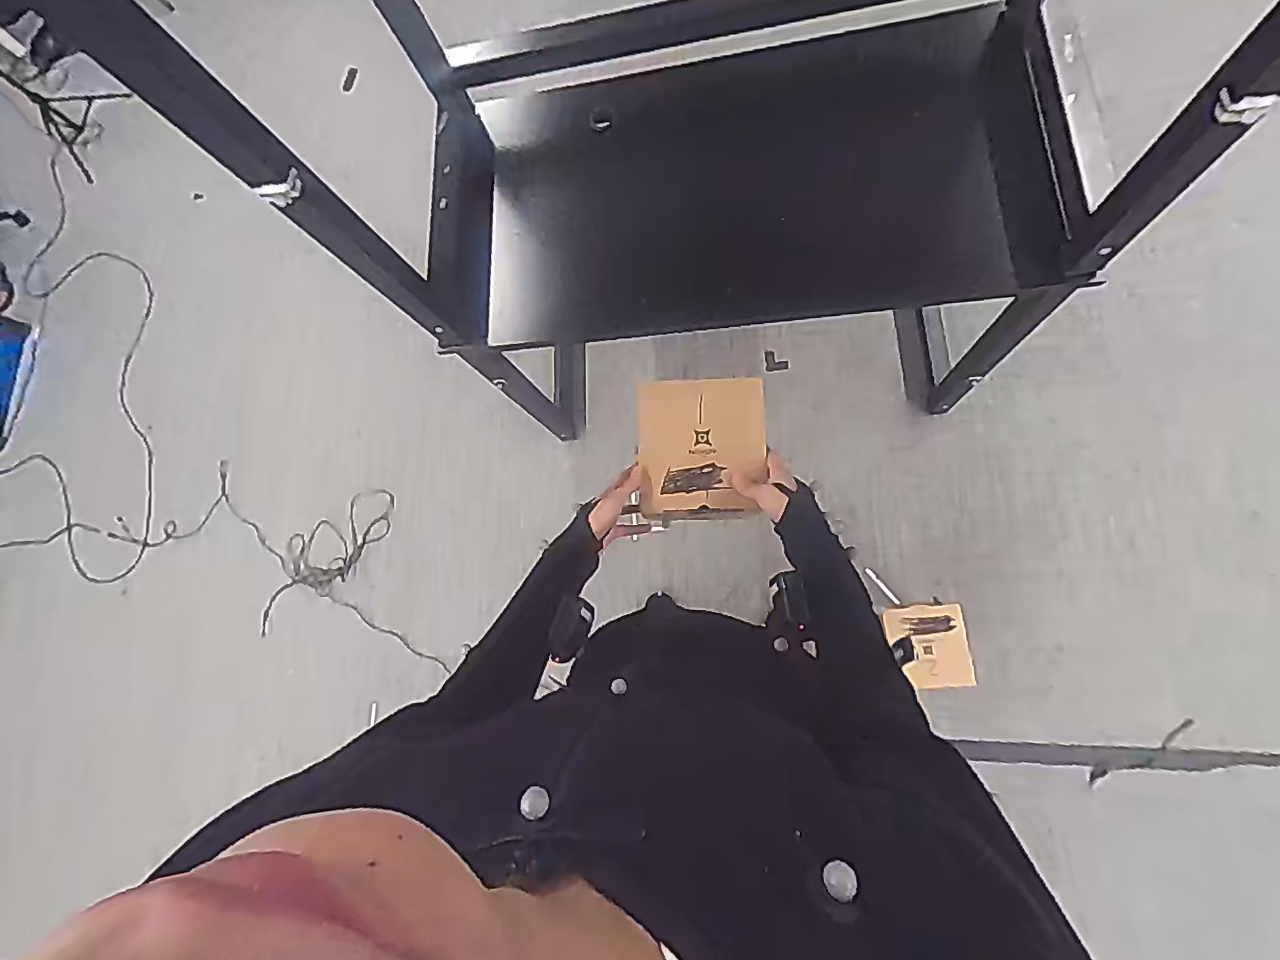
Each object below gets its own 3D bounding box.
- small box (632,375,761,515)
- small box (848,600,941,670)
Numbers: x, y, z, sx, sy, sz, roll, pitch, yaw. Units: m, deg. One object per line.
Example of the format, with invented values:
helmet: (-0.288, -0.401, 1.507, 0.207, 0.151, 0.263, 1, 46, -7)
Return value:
small box: (0.077, -0.040, 0.773, 0.168, 0.176, 0.179, -1, 82, 2)
small box: (0.663, 0.404, 1.427, 0.179, 0.176, 0.168, -4, 78, 10)
